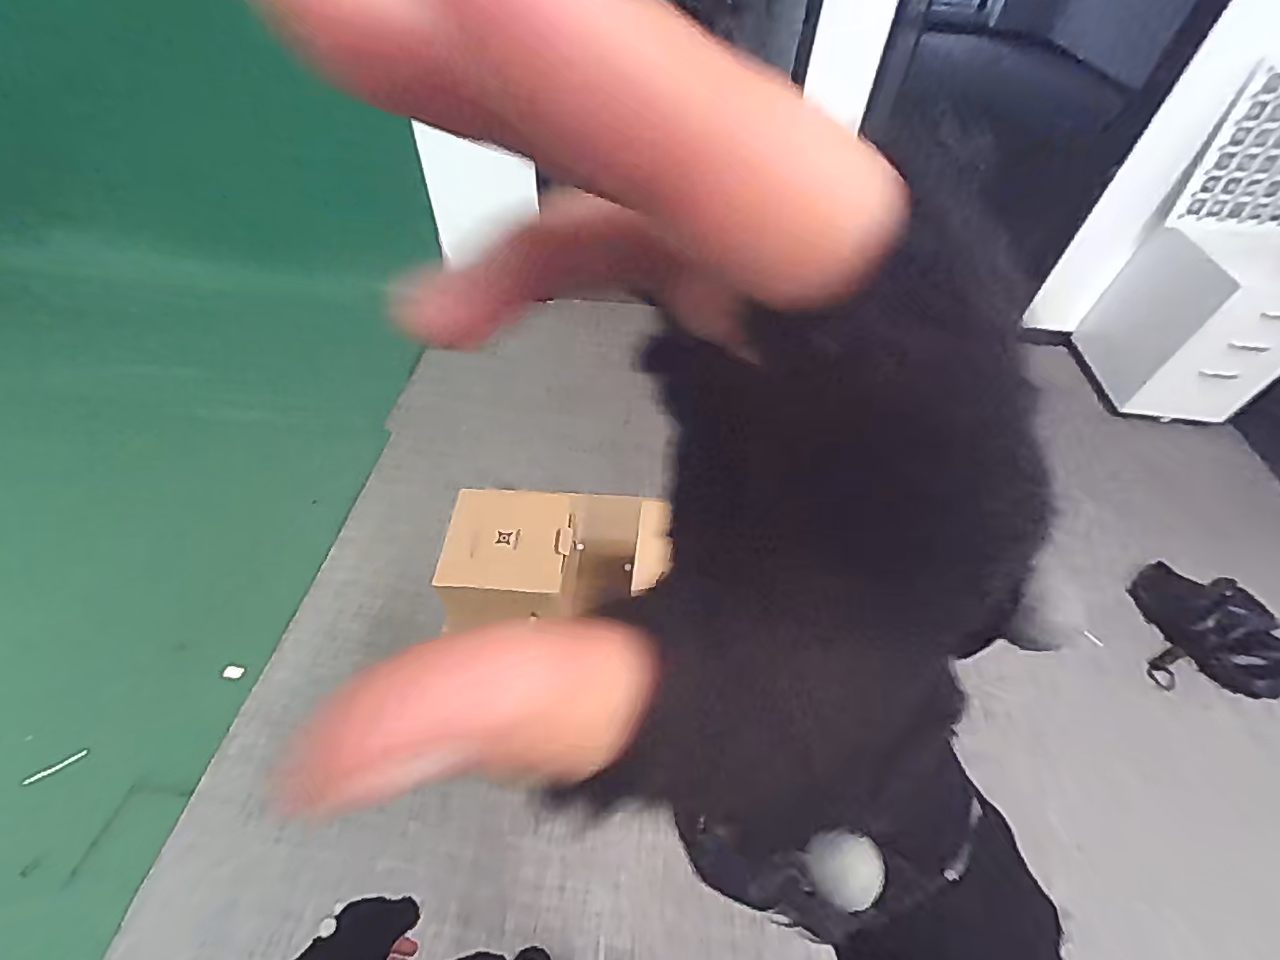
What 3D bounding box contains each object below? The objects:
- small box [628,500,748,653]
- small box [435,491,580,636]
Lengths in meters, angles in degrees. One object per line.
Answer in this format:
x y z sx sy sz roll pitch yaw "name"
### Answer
0.072 0.155 0.839 0.168 0.176 0.179 5 54 2 "small box"
-0.192 0.136 0.849 0.179 0.176 0.168 2 52 1 "small box"
